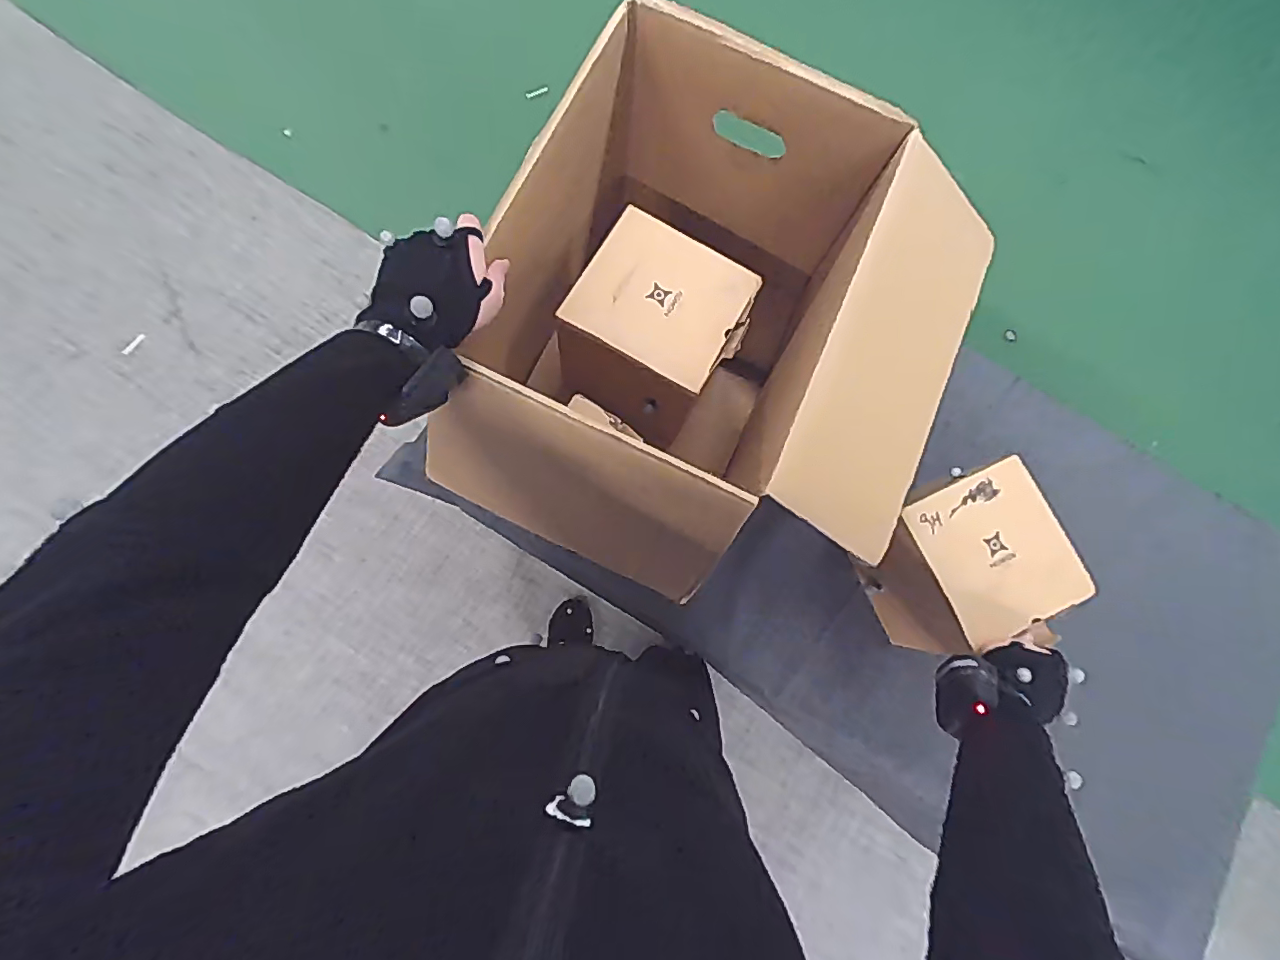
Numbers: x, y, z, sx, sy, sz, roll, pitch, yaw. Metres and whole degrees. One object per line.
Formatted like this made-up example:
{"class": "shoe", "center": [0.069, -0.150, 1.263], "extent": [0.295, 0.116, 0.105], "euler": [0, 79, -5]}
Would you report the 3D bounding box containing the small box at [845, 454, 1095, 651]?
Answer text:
{"class": "small box", "center": [0.393, 0.088, 0.678], "extent": [0.168, 0.176, 0.179], "euler": [-22, 82, -6]}
